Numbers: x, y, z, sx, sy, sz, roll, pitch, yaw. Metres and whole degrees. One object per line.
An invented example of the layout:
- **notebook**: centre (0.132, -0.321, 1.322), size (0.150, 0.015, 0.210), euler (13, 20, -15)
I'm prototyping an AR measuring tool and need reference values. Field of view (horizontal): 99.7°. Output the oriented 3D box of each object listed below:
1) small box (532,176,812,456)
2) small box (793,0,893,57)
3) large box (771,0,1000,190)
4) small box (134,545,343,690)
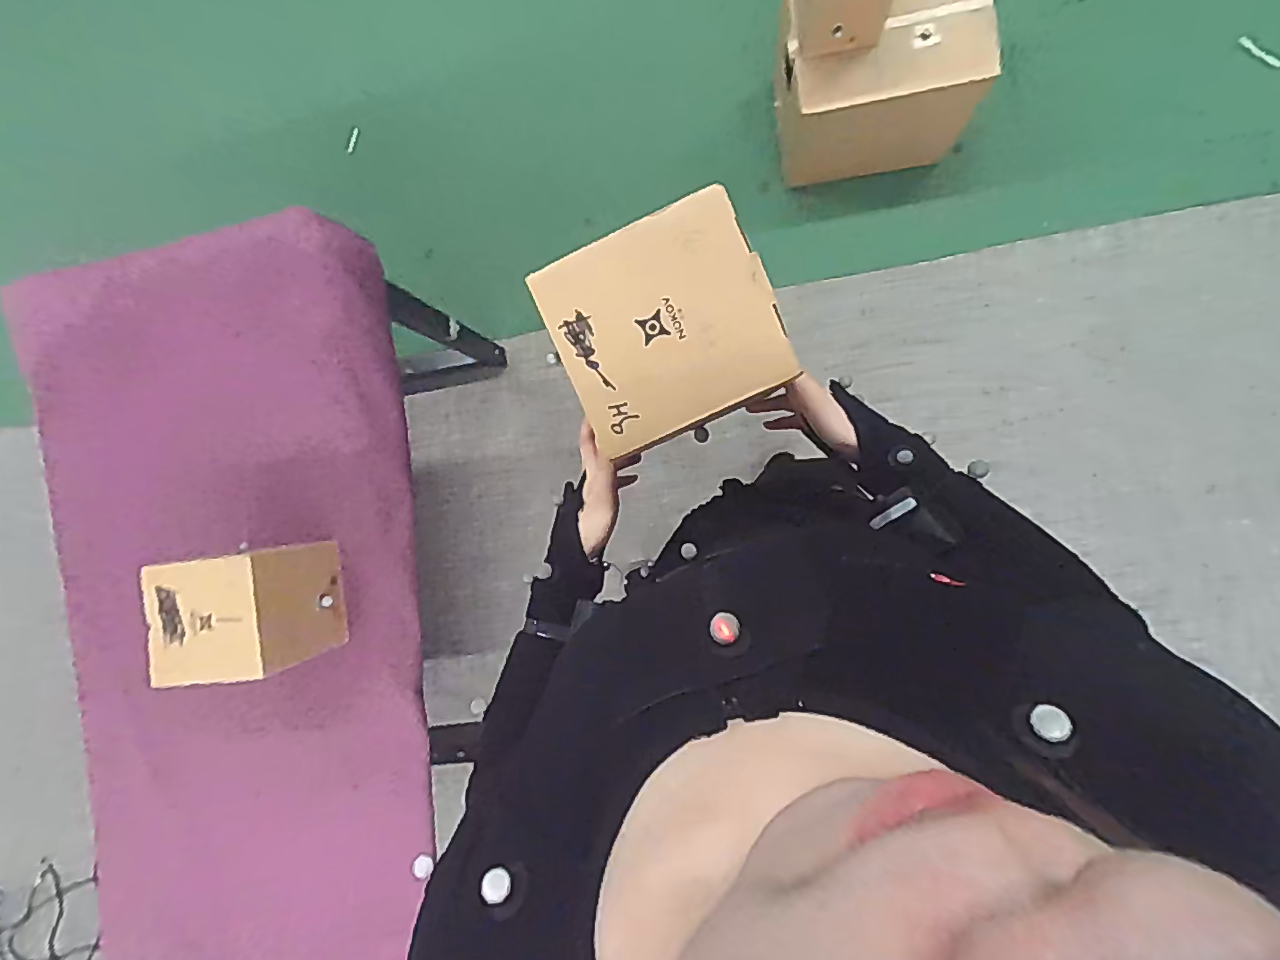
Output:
- **small box**: centre (0.027, -0.130, 0.499), size (0.179, 0.176, 0.168), euler (-23, 89, 4)
- **small box**: centre (0.399, -0.991, 1.061), size (0.168, 0.176, 0.179), euler (-6, 89, 8)
- **large box**: centre (0.545, -0.952, 1.284), size (0.408, 0.320, 0.320), euler (-7, 89, 8)
- **small box**: centre (-0.571, 0.192, 0.786), size (0.179, 0.176, 0.168), euler (-7, 89, 9)
